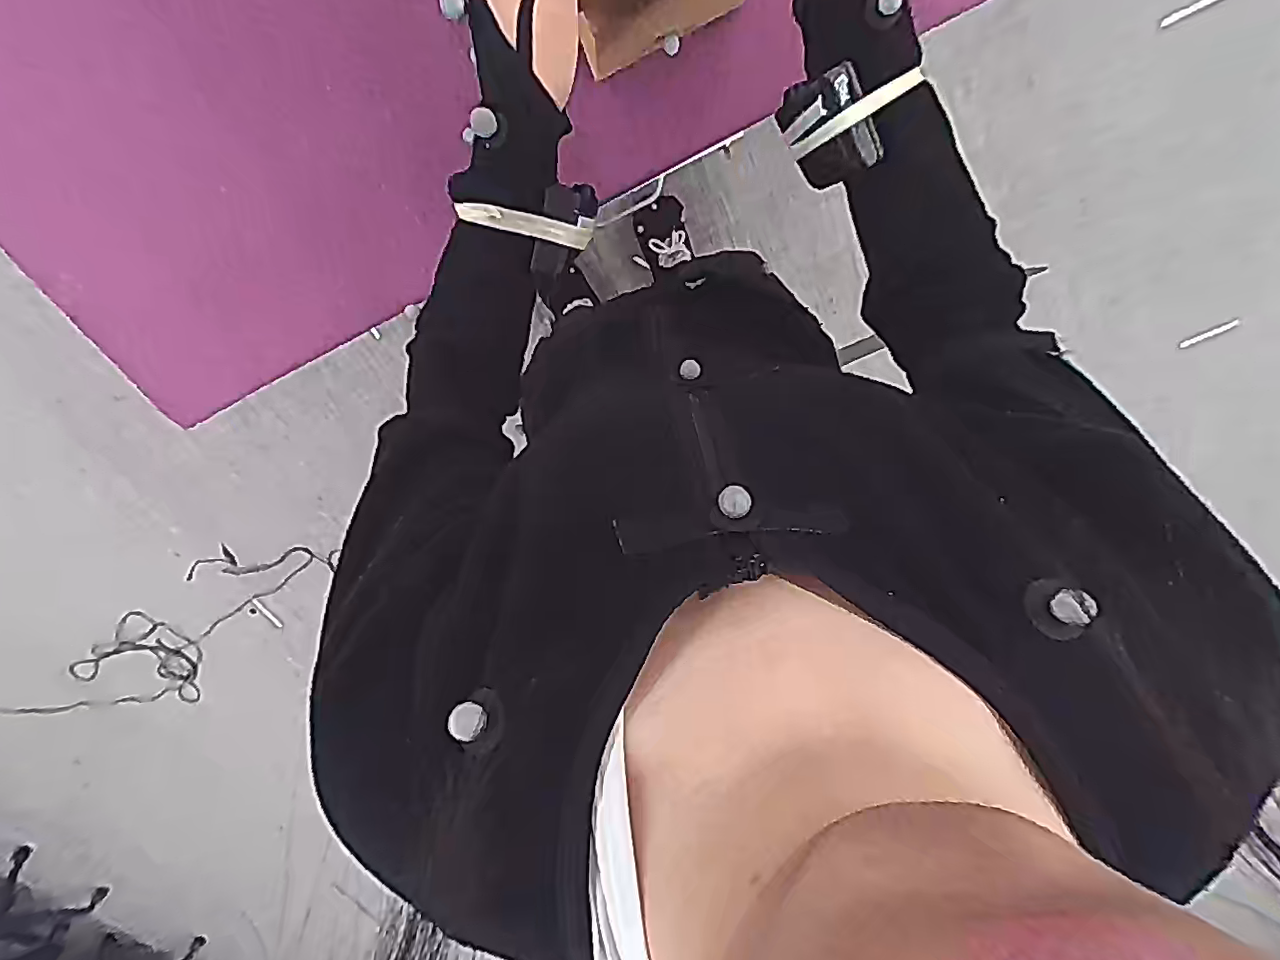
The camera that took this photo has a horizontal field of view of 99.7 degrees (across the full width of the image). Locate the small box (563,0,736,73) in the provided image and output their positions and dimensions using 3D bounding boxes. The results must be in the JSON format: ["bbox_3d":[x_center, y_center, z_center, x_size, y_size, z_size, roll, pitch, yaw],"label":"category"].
[{"bbox_3d":[-0.004,-0.486,0.450,0.168,0.176,0.179,-22,116,8],"label":"small box"}]
